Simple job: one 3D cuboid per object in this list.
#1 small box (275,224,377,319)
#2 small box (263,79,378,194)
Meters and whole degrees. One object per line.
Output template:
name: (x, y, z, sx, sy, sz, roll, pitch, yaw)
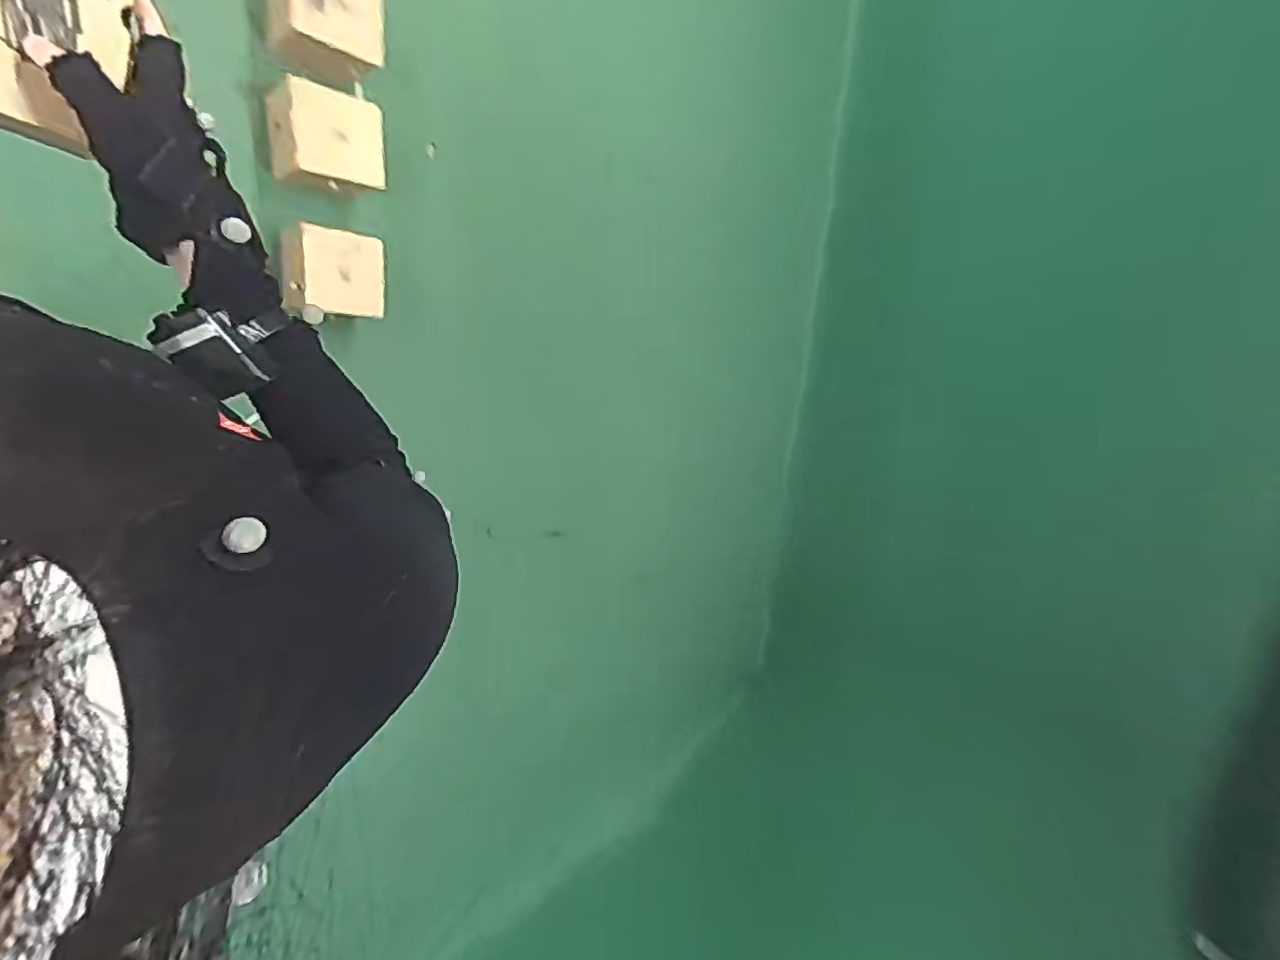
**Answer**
small box: (-0.730, -0.479, 1.258, 0.168, 0.176, 0.179, -8, 109, -47)
small box: (-0.706, -0.746, 1.198, 0.179, 0.176, 0.168, -11, 111, -45)
